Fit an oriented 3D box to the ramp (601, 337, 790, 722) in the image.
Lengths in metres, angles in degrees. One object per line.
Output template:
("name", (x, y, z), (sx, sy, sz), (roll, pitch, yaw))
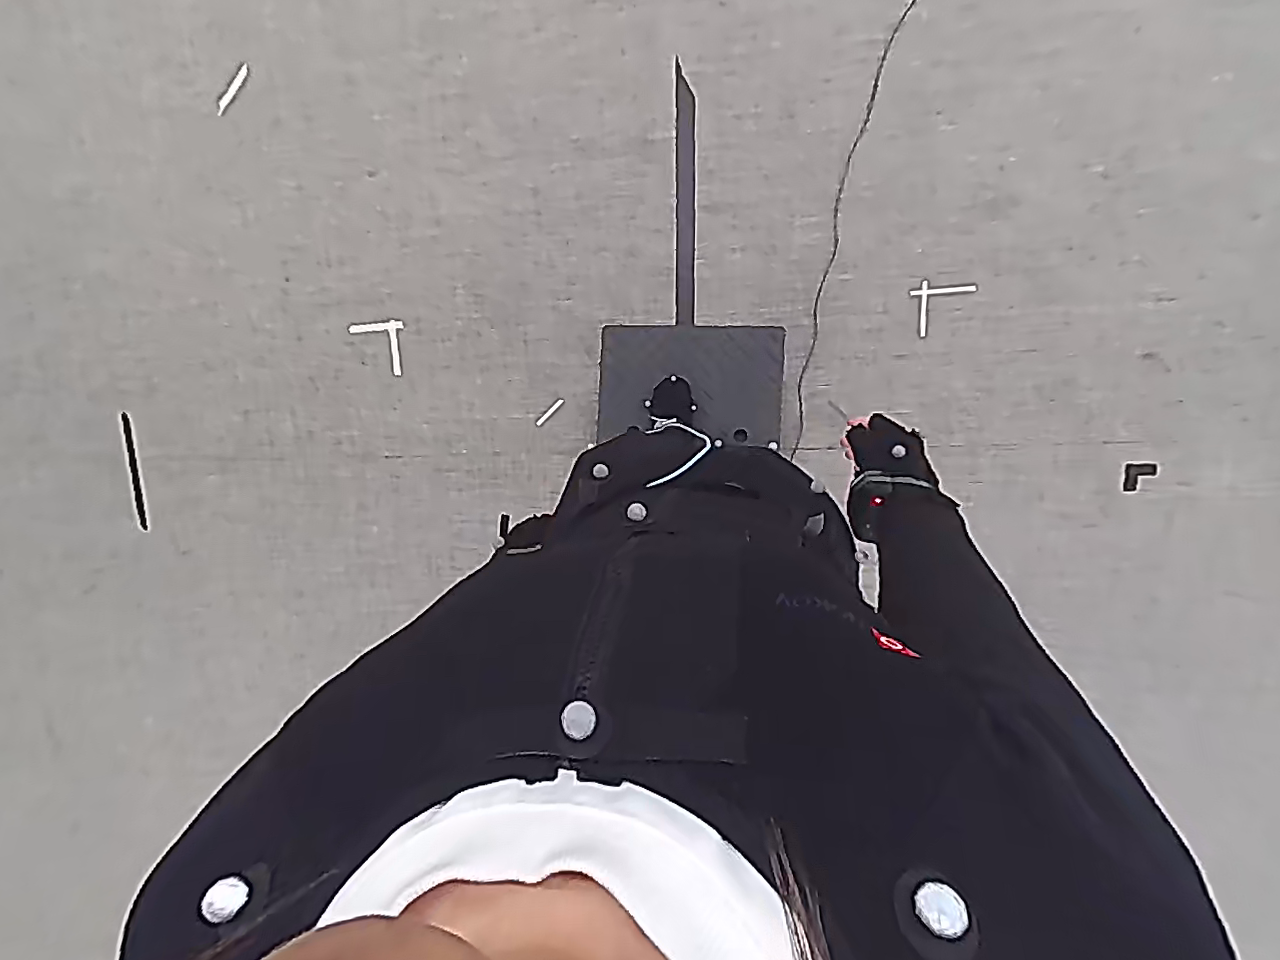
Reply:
("ramp", (0.146, 0.114, 1.445), (0.509, 0.206, 0.991), (0, 96, 11))
